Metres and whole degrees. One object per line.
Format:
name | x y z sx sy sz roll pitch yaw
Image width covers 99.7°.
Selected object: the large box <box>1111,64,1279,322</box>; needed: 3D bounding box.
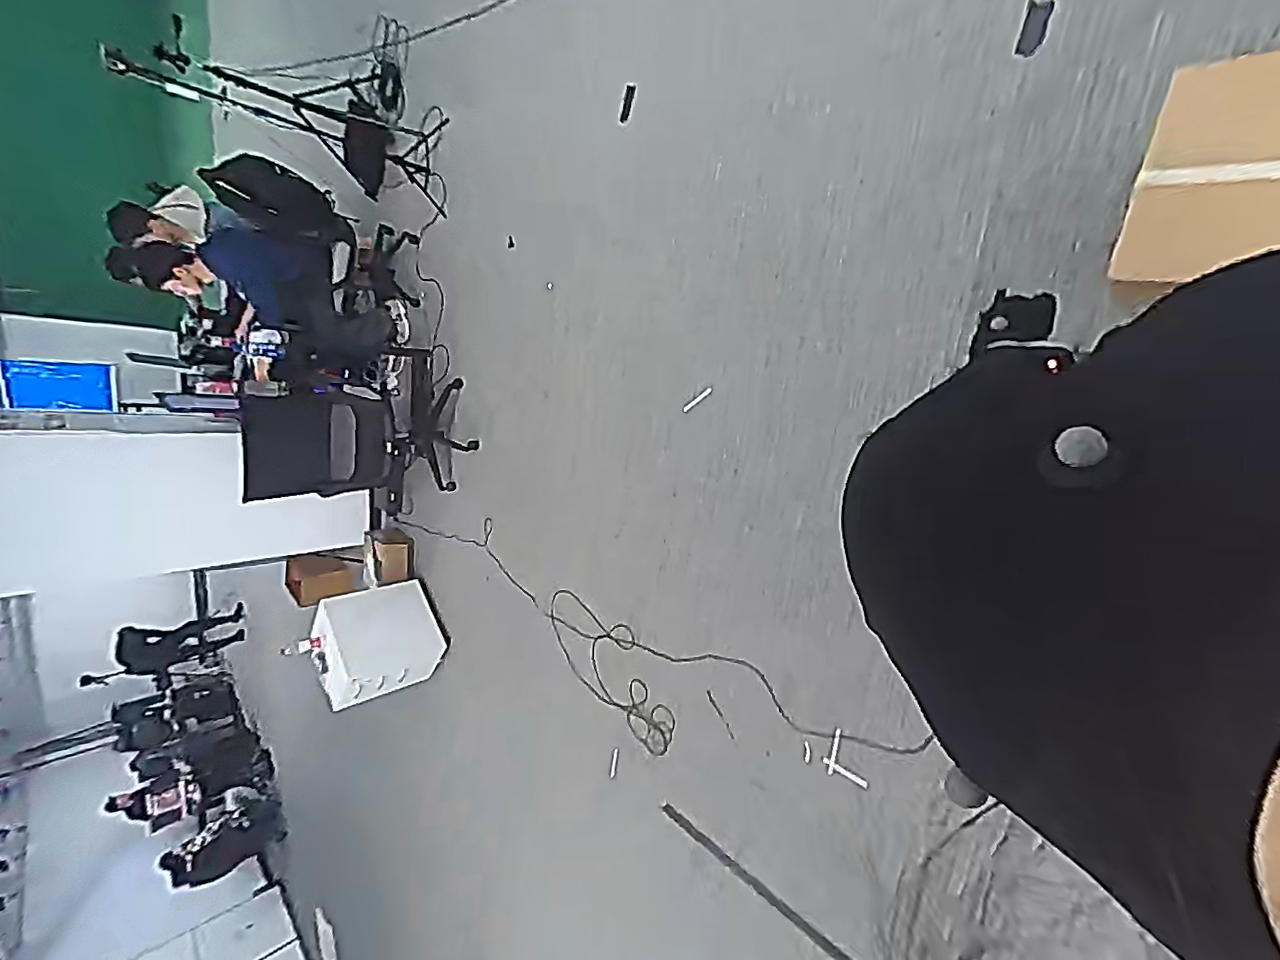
large box | 1.054 -0.433 0.860 0.408 0.320 0.320 20 108 40
